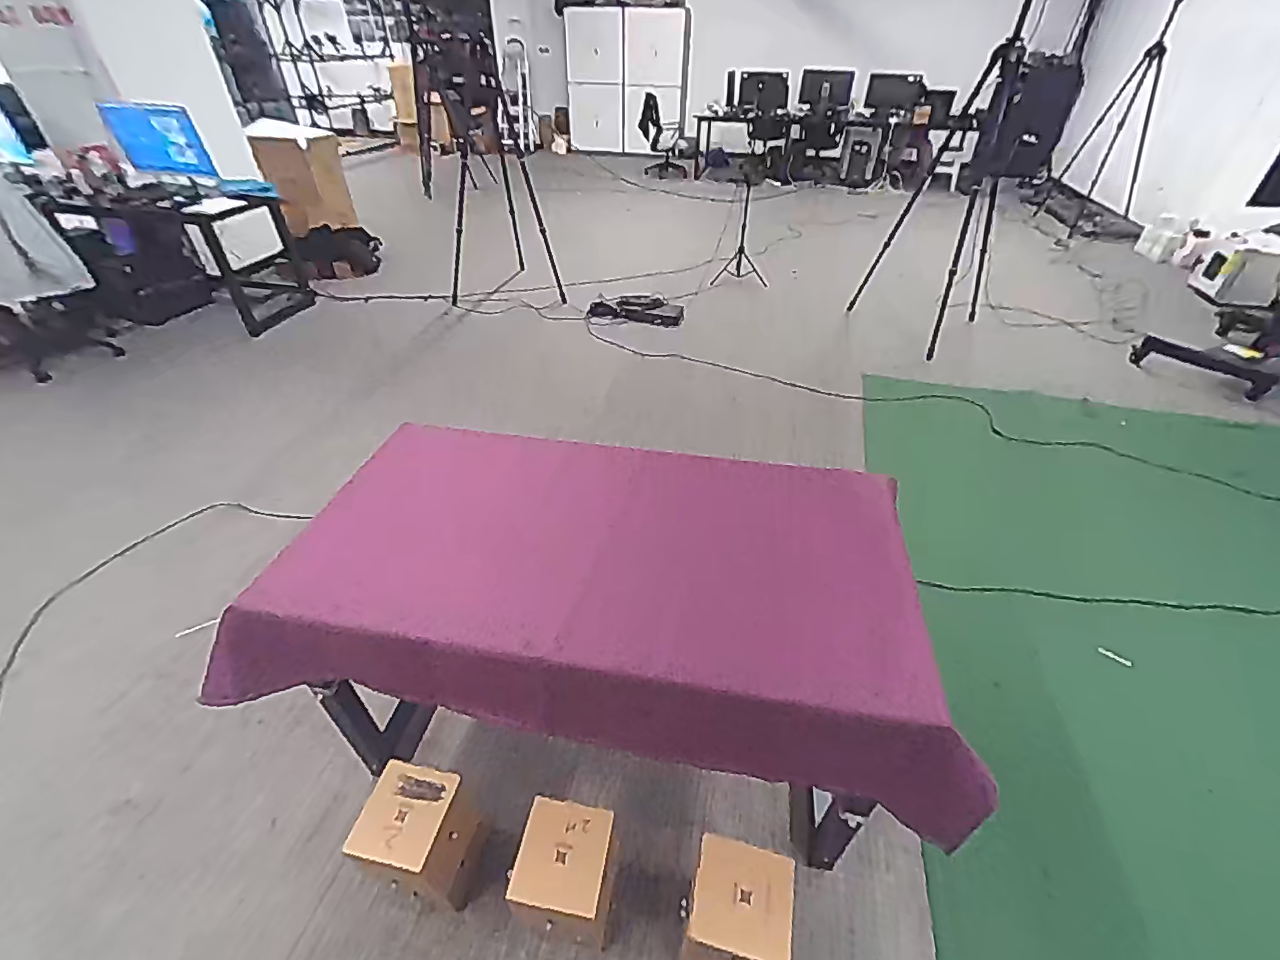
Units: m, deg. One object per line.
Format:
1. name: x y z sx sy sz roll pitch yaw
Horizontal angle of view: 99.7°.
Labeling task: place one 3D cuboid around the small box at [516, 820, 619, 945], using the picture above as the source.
1. small box: -0.150 0.885 1.188 0.179 0.176 0.168 8 40 9
